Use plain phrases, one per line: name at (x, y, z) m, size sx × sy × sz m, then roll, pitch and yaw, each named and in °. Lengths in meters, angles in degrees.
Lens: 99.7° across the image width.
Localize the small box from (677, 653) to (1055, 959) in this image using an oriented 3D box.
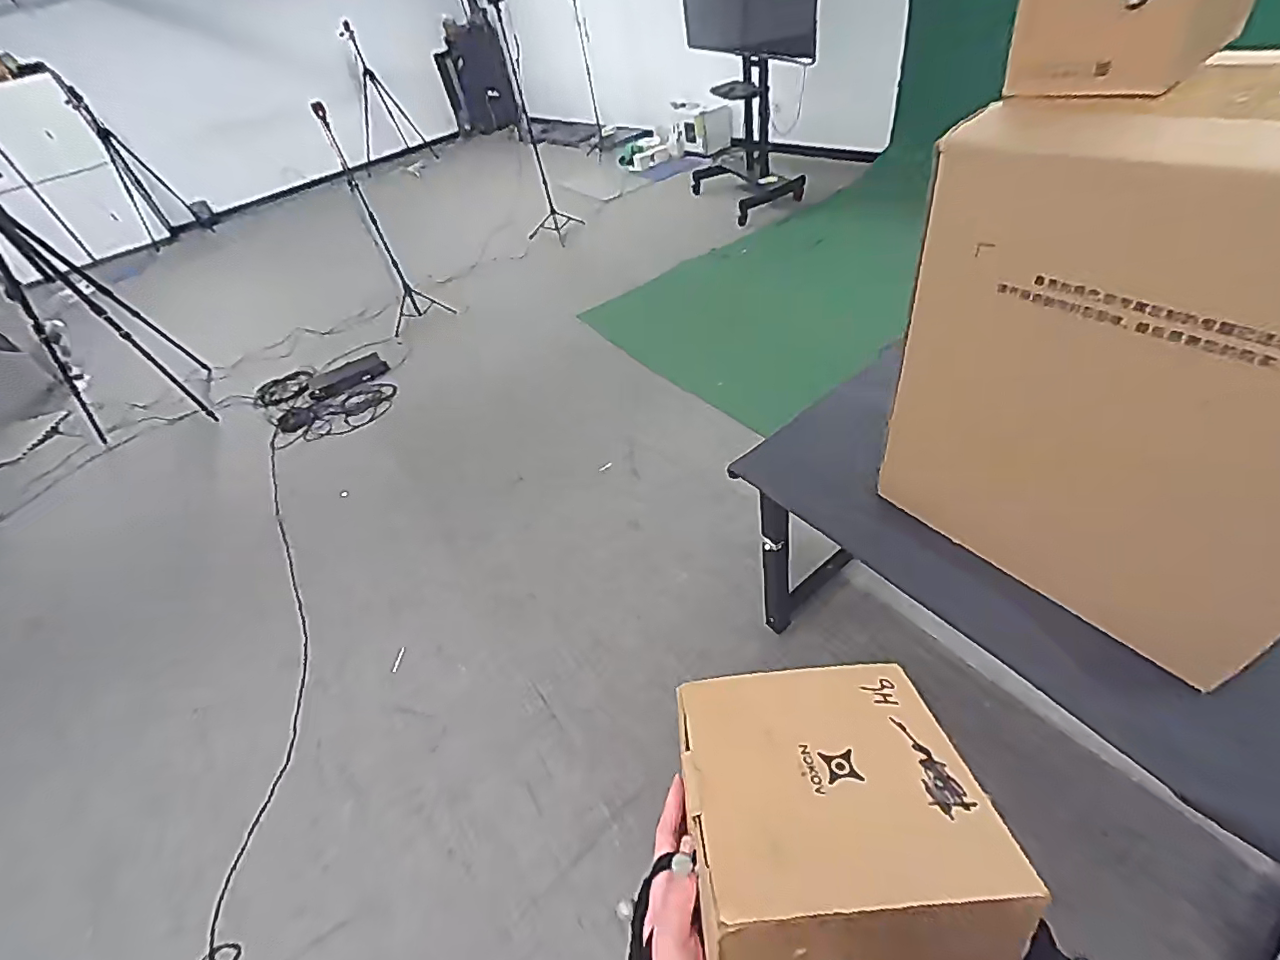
small box at (0.124, 0.246, 0.369) m, size 0.179 × 0.176 × 0.168 m, roll -5°, pitch 25°, yaw -1°

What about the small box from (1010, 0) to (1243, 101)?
small box at (0.549, -0.543, 0.599) m, size 0.179 × 0.176 × 0.168 m, roll -35°, pitch 47°, yaw -18°
